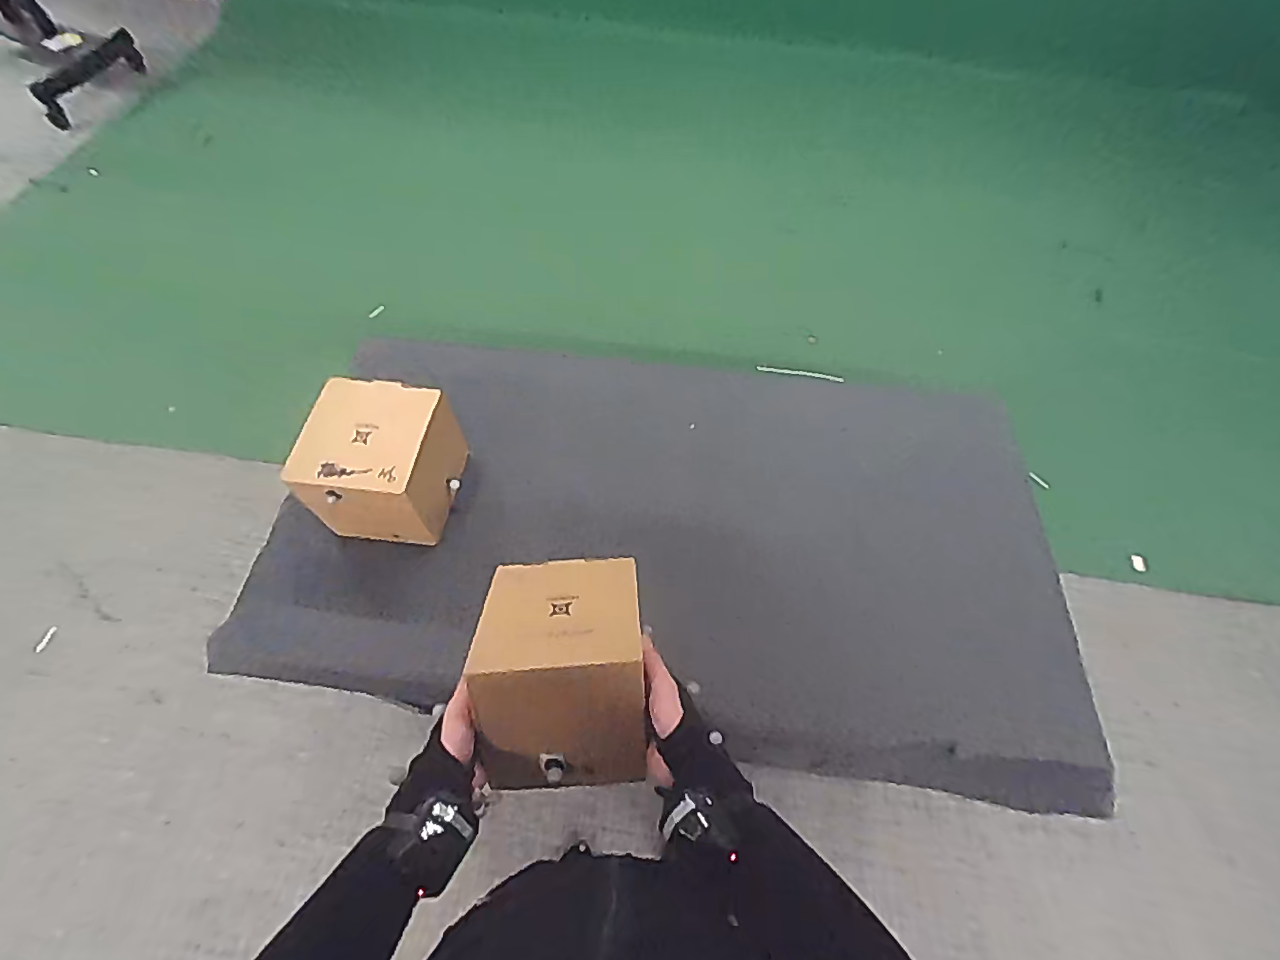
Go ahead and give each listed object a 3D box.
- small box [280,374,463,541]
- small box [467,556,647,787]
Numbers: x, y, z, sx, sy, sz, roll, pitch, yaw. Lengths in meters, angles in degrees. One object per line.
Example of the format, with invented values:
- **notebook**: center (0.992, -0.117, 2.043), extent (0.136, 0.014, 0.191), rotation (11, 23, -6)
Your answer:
- **small box**: center (-0.376, -0.030, 0.802), extent (0.168, 0.176, 0.179), rotation (6, 60, 2)
- **small box**: center (-0.079, 0.203, 0.600), extent (0.168, 0.176, 0.179), rotation (-3, 26, -2)
